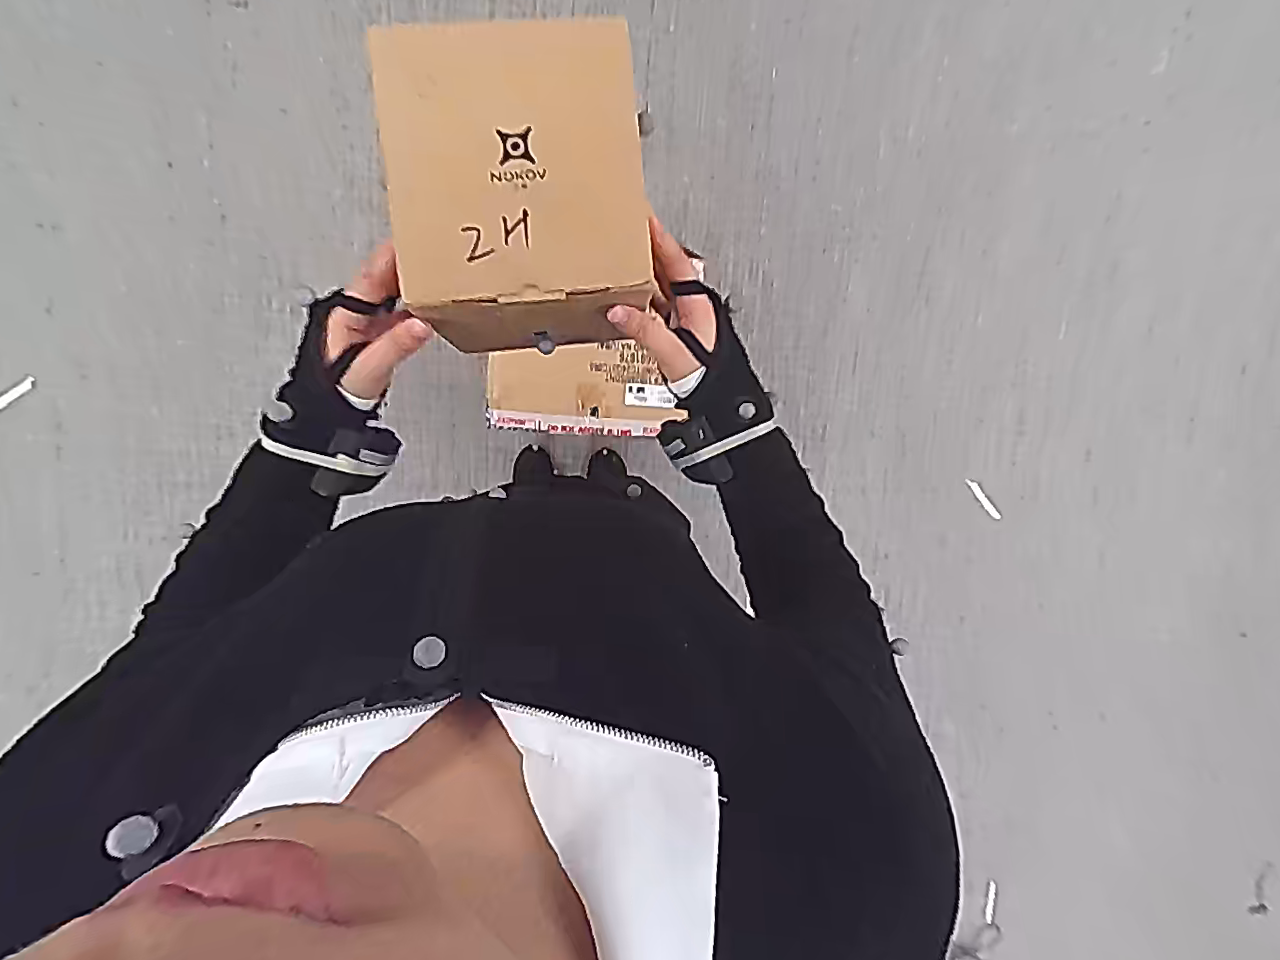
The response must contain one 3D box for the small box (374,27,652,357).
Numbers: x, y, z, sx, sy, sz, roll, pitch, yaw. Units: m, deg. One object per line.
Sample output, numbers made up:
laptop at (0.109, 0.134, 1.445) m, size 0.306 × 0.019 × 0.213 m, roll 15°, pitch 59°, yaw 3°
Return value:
small box at (-0.088, -0.207, 0.431) m, size 0.168 × 0.176 × 0.179 m, roll -7°, pitch 93°, yaw -5°
